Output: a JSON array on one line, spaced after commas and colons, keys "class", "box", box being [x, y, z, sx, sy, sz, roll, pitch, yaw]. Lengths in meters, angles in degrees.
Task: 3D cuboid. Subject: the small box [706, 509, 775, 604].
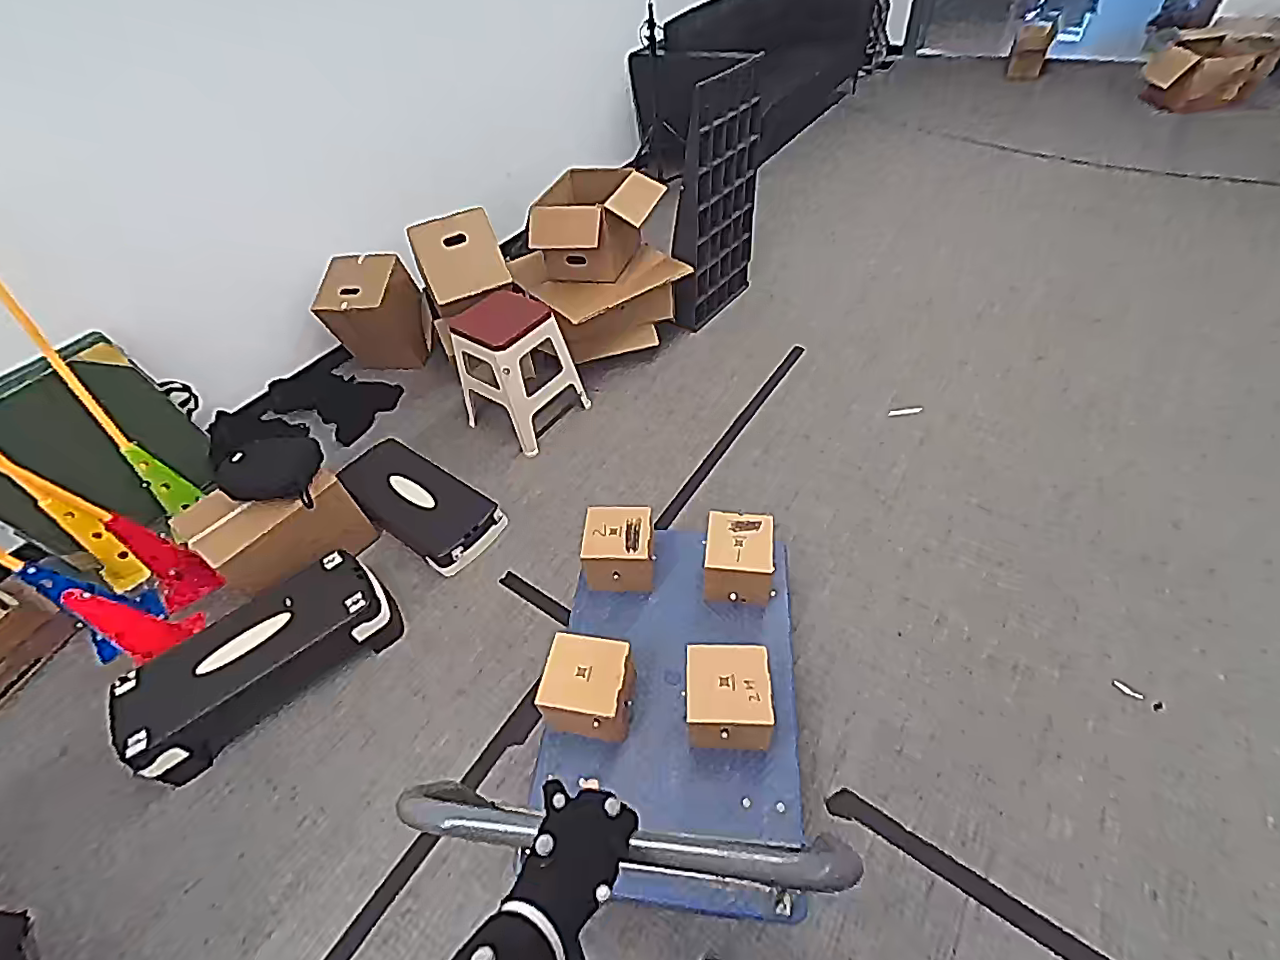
[{"class": "small box", "box": [0.262, 0.201, 1.418, 0.168, 0.176, 0.179, 4, 50, 10]}]

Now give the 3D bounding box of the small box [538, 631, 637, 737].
[{"class": "small box", "box": [-0.110, 0.466, 1.230, 0.179, 0.176, 0.168, 5, 49, 10]}]

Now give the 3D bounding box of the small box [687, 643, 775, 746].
[{"class": "small box", "box": [0.196, 0.472, 1.186, 0.179, 0.176, 0.168, -1, 49, 6]}]
